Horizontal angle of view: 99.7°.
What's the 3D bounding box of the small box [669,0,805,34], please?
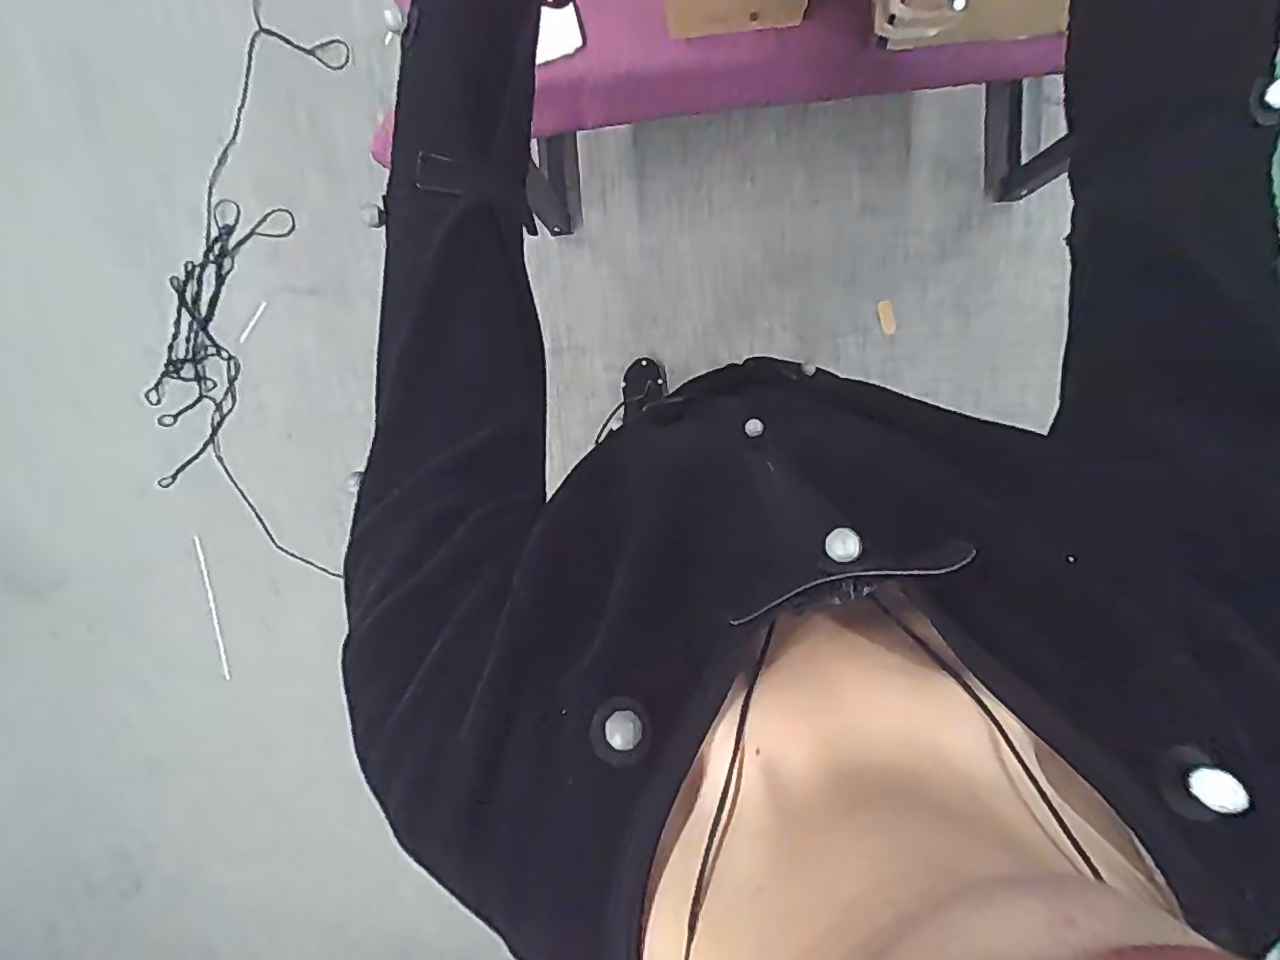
[{"bbox_3d":[0.112,-0.641,0.602,0.168,0.176,0.179,-2,96,5],"label":"small box"}]
